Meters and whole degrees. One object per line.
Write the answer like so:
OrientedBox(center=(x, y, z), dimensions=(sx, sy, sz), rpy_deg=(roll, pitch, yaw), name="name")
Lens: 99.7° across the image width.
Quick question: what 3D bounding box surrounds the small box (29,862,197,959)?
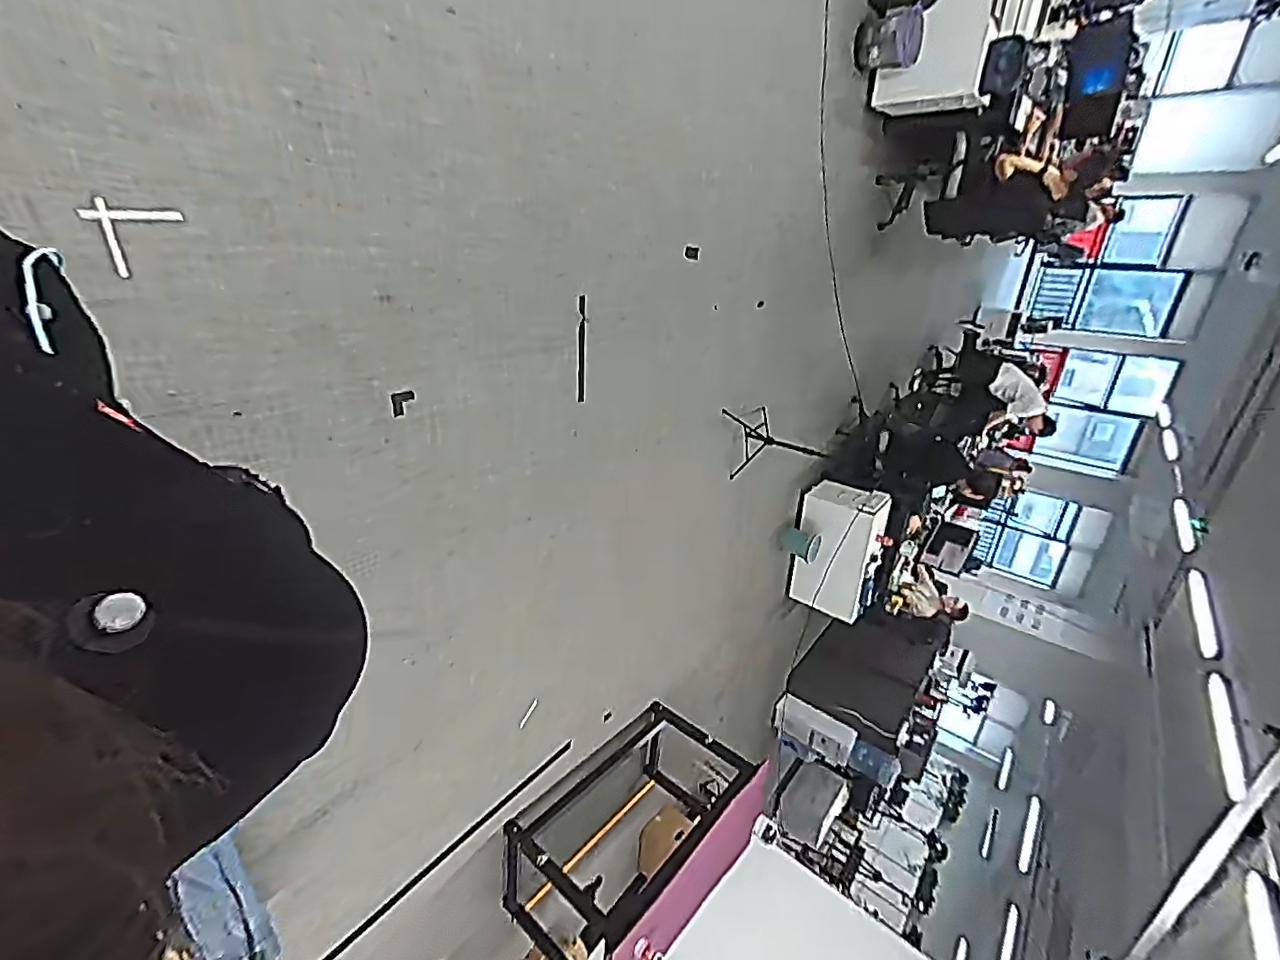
OrientedBox(center=(-0.955, 0.848, 0.984), dimensions=(0.168, 0.176, 0.179), rpy_deg=(-27, 126, -42), name="small box")
